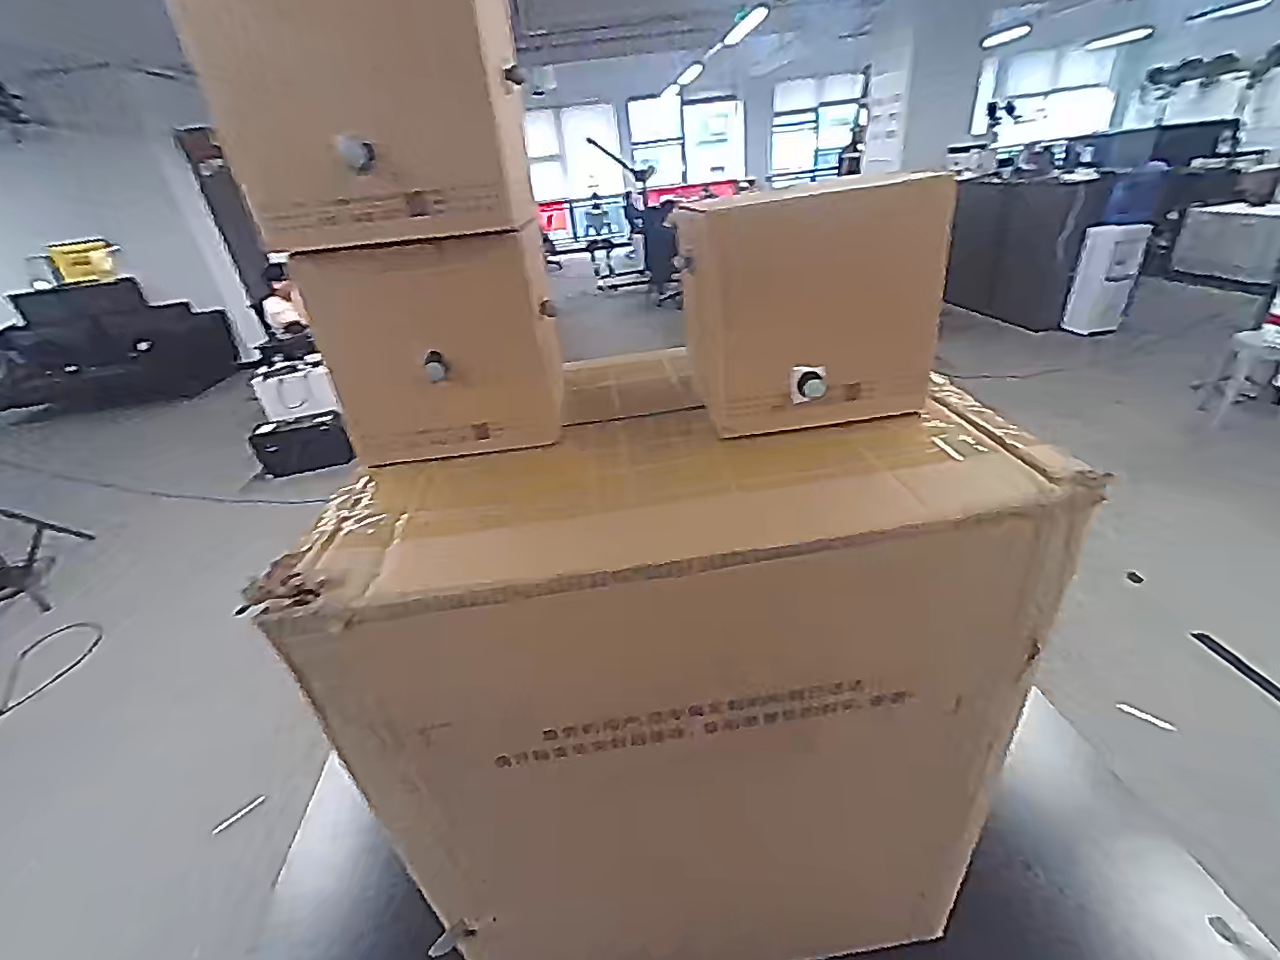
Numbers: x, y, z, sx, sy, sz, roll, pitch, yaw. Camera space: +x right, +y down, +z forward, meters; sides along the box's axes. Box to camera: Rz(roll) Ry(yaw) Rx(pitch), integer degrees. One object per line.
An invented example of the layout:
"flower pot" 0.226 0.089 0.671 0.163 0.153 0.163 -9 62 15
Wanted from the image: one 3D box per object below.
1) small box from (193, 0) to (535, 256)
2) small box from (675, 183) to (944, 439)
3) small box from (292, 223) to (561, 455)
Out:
"small box" -0.177 -0.267 0.400 0.168 0.176 0.179 -7 29 -2
"small box" 0.127 -0.151 0.471 0.168 0.176 0.179 -9 29 0
"small box" -0.167 -0.130 0.494 0.168 0.176 0.179 -7 29 -3
